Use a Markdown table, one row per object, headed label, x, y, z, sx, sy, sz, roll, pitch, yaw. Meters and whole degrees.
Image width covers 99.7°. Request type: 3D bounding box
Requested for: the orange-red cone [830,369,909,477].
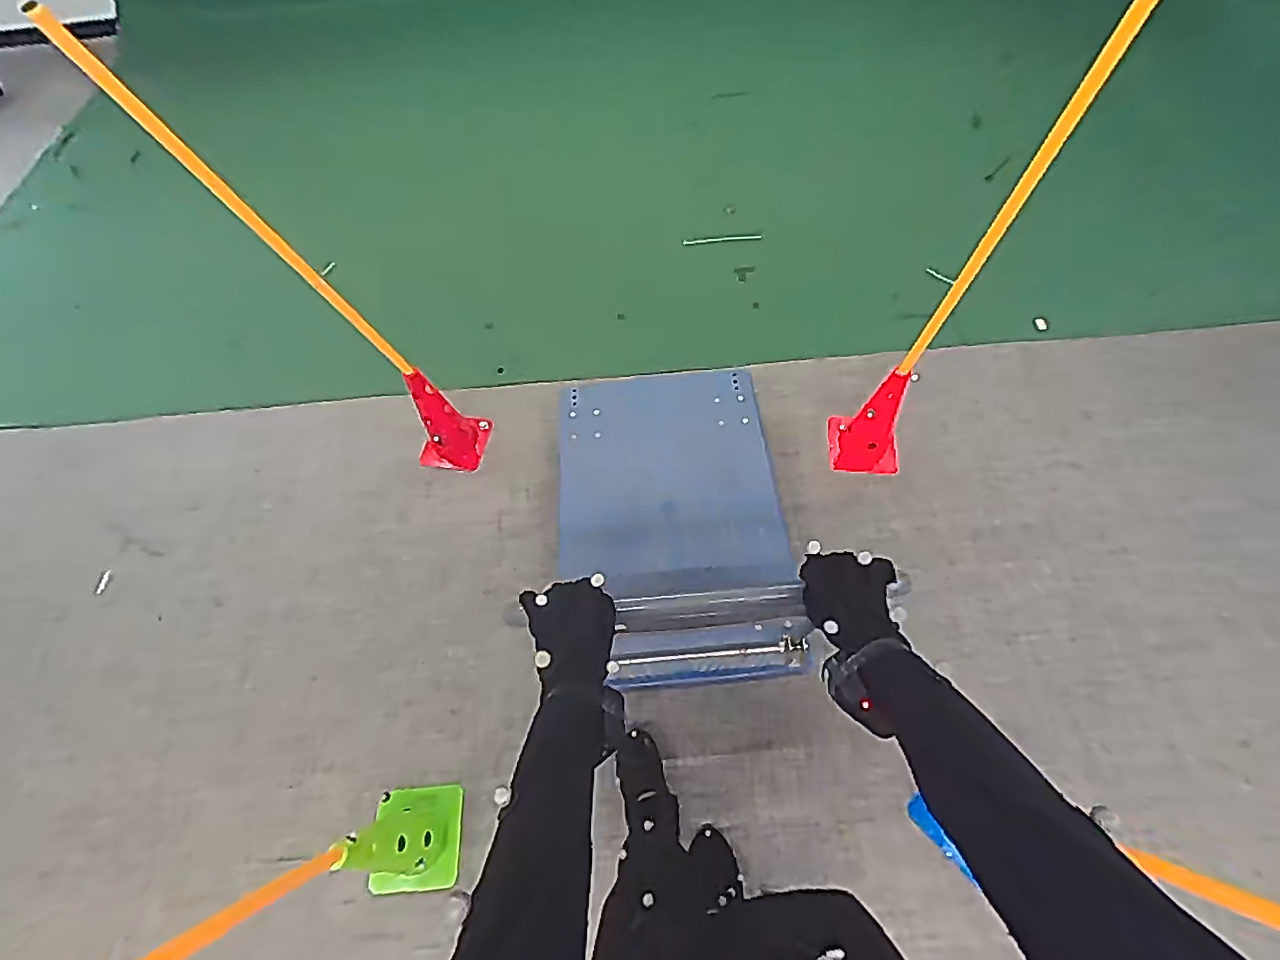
| label | x | y | z | sx | sy | sz | roll | pitch | yaw |
| --- | --- | --- | --- | --- | --- | --- | --- | --- | --- |
| orange-red cone | 0.675 | -0.181 | 1.515 | 0.198 | 0.360 | 0.199 | 5 | 62 | 8 |
